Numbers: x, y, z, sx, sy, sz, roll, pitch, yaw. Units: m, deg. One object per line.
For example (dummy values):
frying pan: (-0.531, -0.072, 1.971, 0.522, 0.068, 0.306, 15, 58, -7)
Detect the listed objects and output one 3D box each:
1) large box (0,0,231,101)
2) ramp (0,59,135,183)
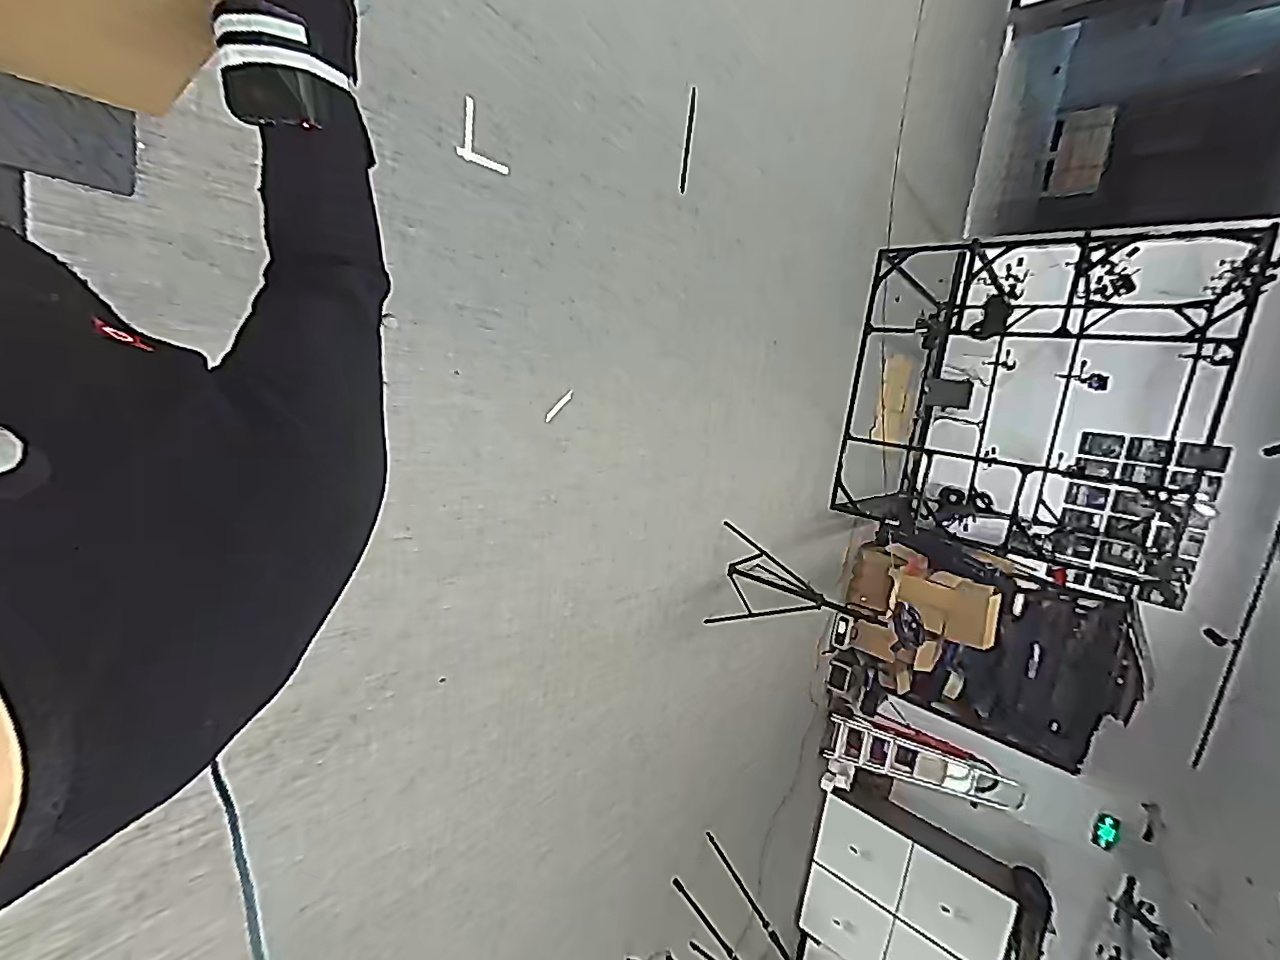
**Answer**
large box: (-0.479, -0.466, 0.257, 0.408, 0.320, 0.320, -11, 108, -50)
ramp: (-1.010, -1.014, 0.725, 0.509, 0.206, 0.991, -8, 108, -50)
